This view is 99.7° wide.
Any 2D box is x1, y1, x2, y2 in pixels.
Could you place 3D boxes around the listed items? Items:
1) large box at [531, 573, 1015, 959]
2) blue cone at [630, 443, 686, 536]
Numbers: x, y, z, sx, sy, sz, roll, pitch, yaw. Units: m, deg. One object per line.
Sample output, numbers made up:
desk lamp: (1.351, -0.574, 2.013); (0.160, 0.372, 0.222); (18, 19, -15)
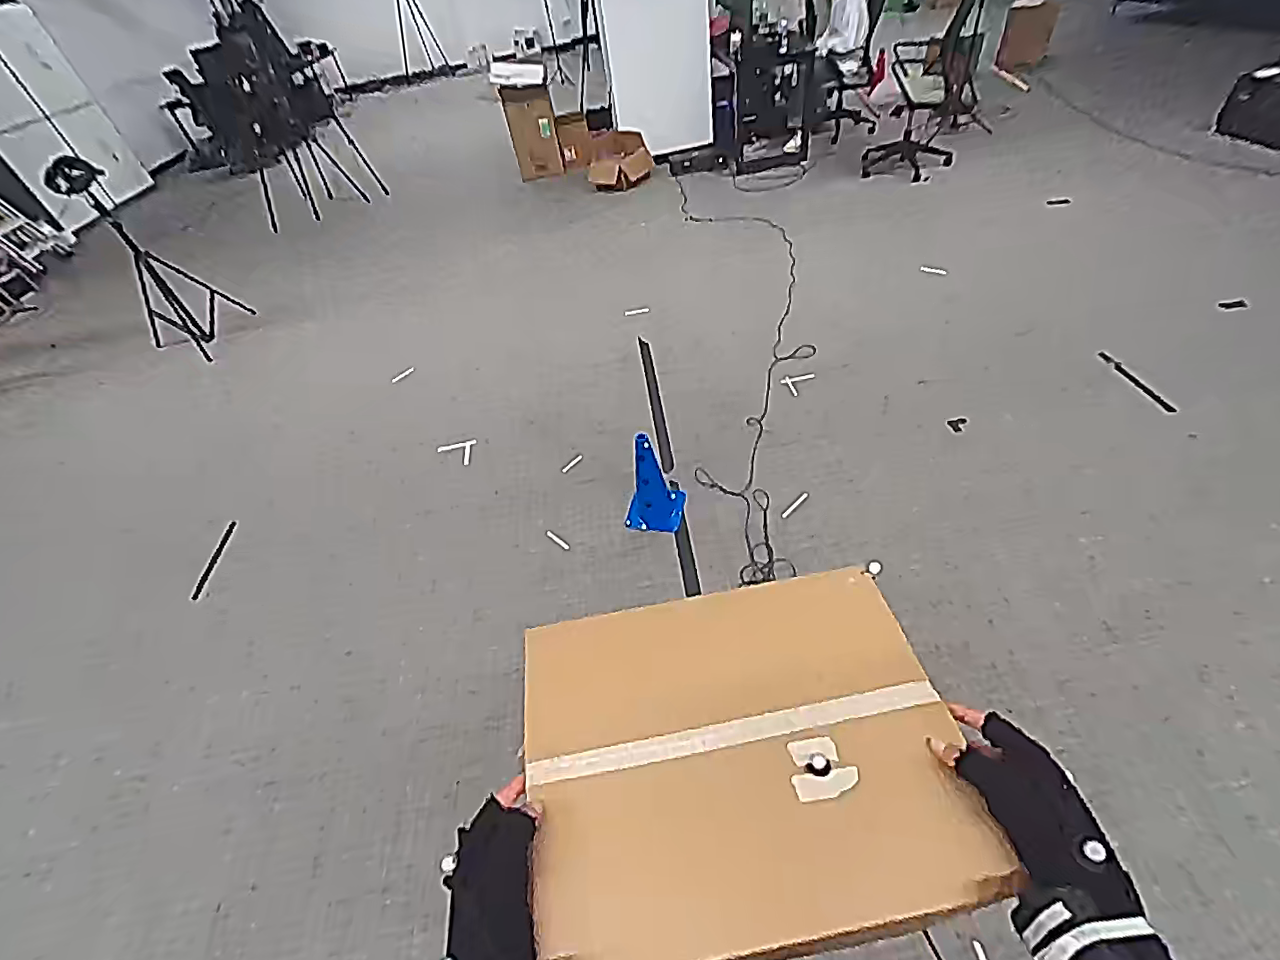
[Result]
large box: (0.105, 0.358, 0.639); (0.408, 0.320, 0.320); (-11, 45, -2)
blue cone: (0.041, 0.013, 1.889); (0.193, 0.380, 0.192); (4, 47, 17)
